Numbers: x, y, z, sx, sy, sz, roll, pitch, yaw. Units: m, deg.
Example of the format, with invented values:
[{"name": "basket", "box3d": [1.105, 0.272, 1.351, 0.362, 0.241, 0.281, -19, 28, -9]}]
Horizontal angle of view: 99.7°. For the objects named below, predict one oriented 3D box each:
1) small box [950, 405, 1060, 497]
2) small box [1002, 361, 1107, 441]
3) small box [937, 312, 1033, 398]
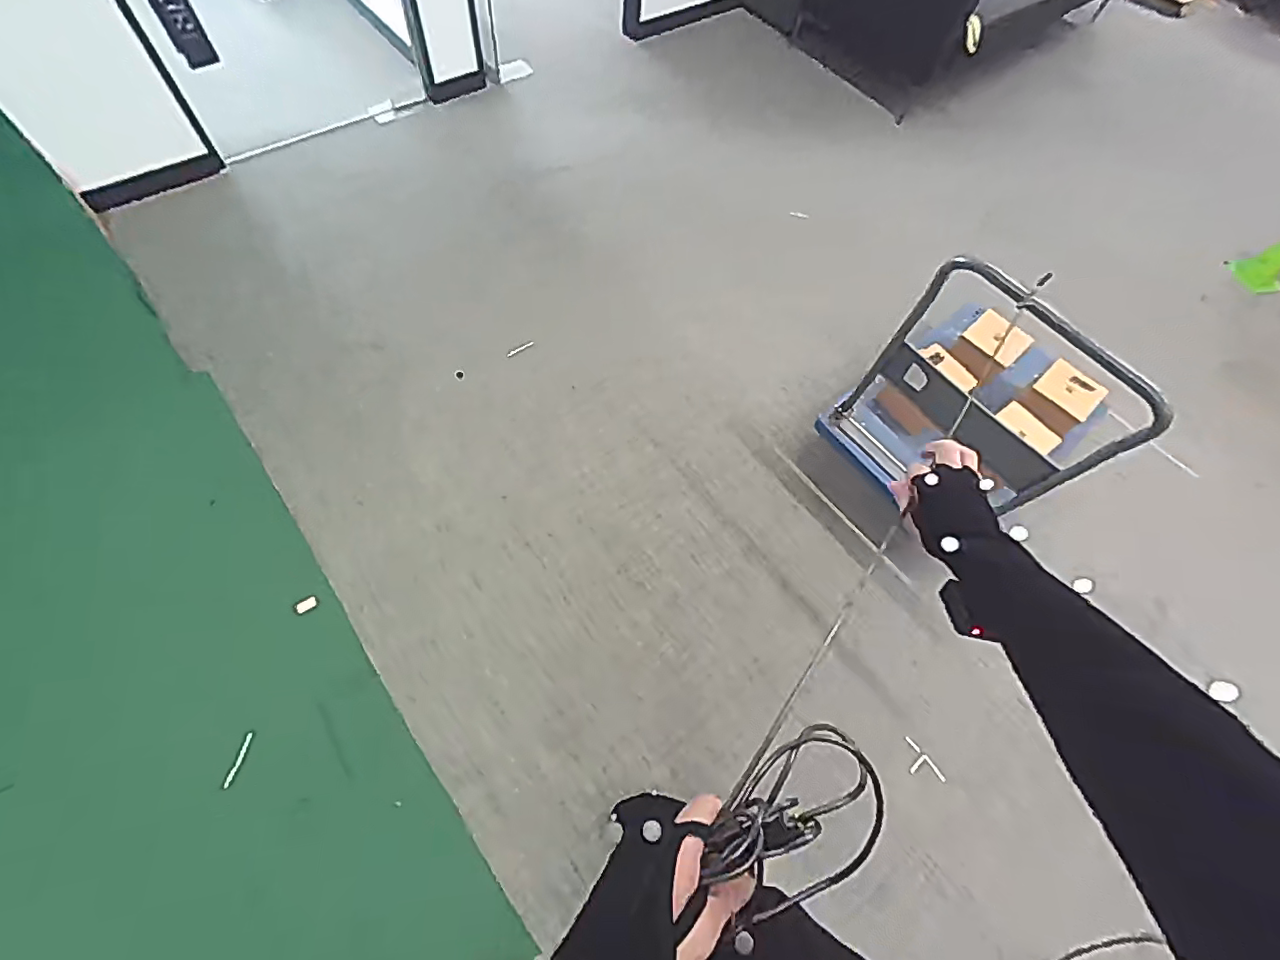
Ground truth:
[{"name": "small box", "box3d": [1.054, -0.081, 1.578, 0.179, 0.176, 0.168, -33, 70, -19]}, {"name": "small box", "box3d": [1.266, -0.224, 1.668, 0.179, 0.176, 0.168, -38, 71, -20]}, {"name": "small box", "box3d": [1.097, -0.395, 1.740, 0.179, 0.176, 0.168, -38, 73, -21]}]
